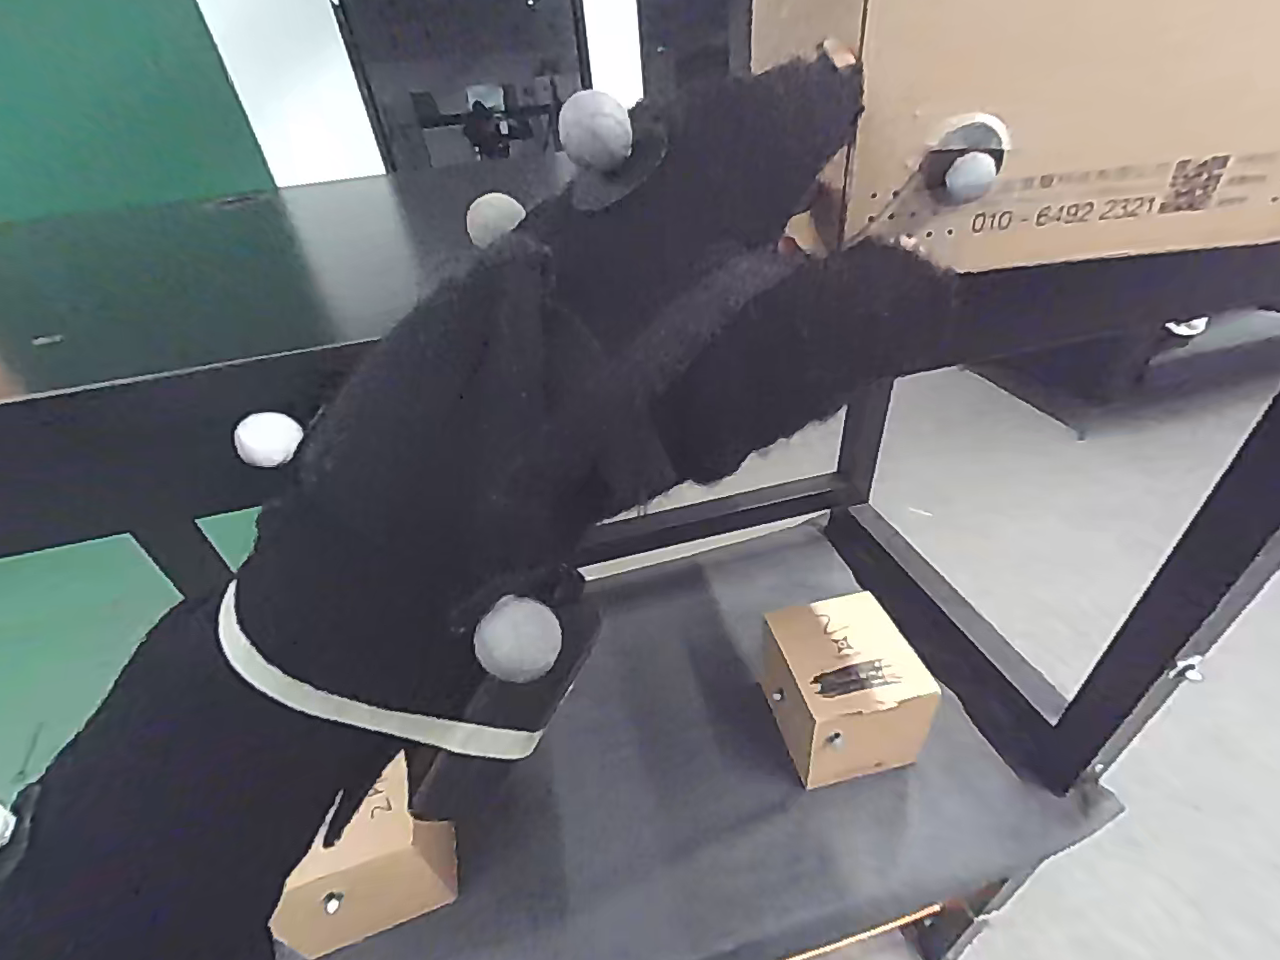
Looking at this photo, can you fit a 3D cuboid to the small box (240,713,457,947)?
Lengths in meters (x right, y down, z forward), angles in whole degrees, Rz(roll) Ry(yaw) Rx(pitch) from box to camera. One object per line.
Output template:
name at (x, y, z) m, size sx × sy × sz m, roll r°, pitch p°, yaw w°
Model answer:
small box at (-0.342, 0.433, 0.674) m, size 0.179 × 0.176 × 0.168 m, roll -14°, pitch 37°, yaw -12°
